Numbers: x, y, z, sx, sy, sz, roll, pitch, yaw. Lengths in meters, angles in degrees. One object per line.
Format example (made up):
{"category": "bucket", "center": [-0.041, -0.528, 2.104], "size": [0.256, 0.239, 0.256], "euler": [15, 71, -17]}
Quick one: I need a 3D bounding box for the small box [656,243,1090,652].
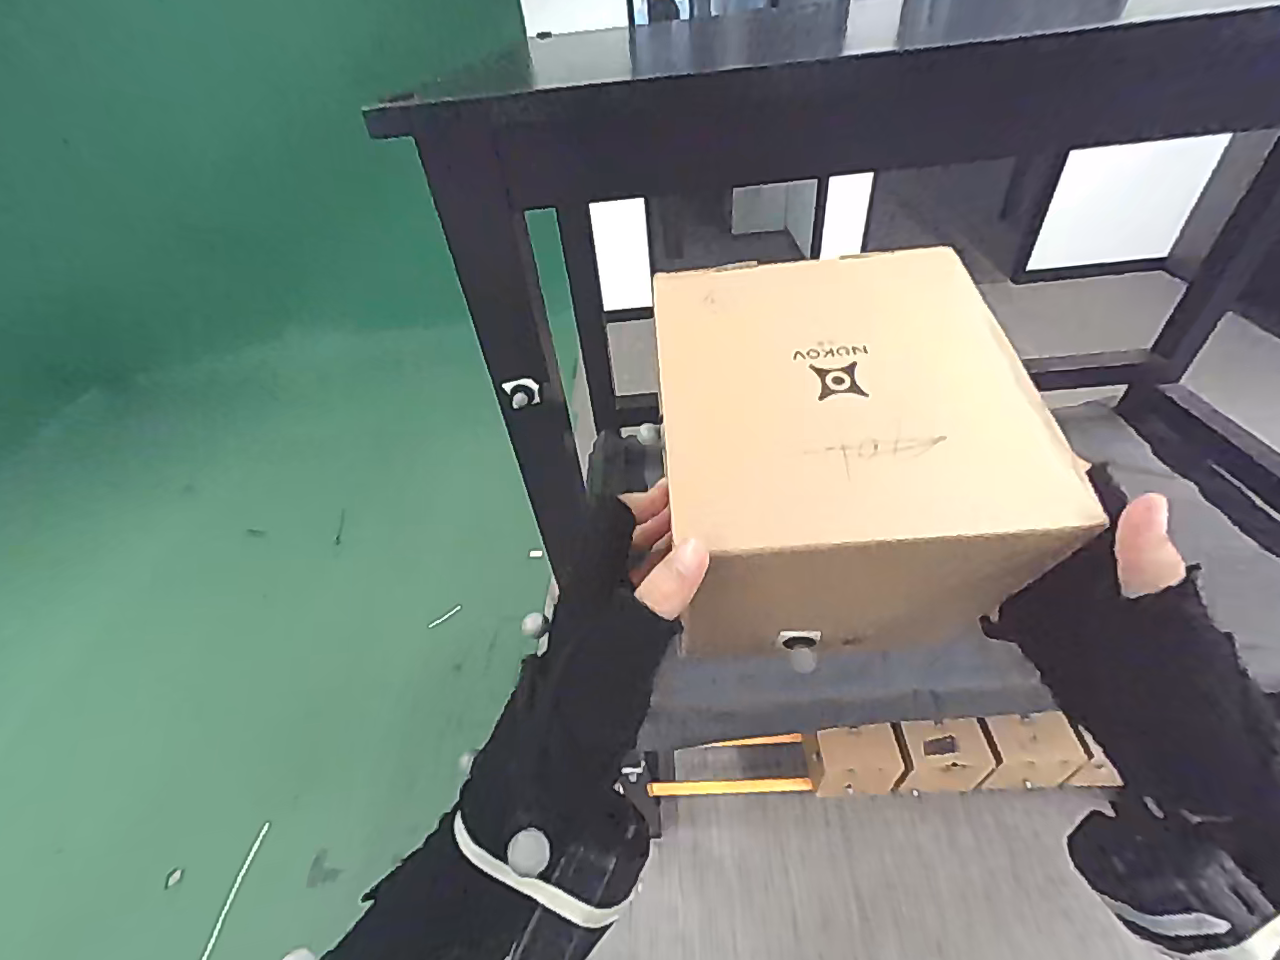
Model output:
{"category": "small box", "center": [0.098, -0.011, 0.326], "size": [0.168, 0.176, 0.179], "euler": [-5, 57, 3]}
